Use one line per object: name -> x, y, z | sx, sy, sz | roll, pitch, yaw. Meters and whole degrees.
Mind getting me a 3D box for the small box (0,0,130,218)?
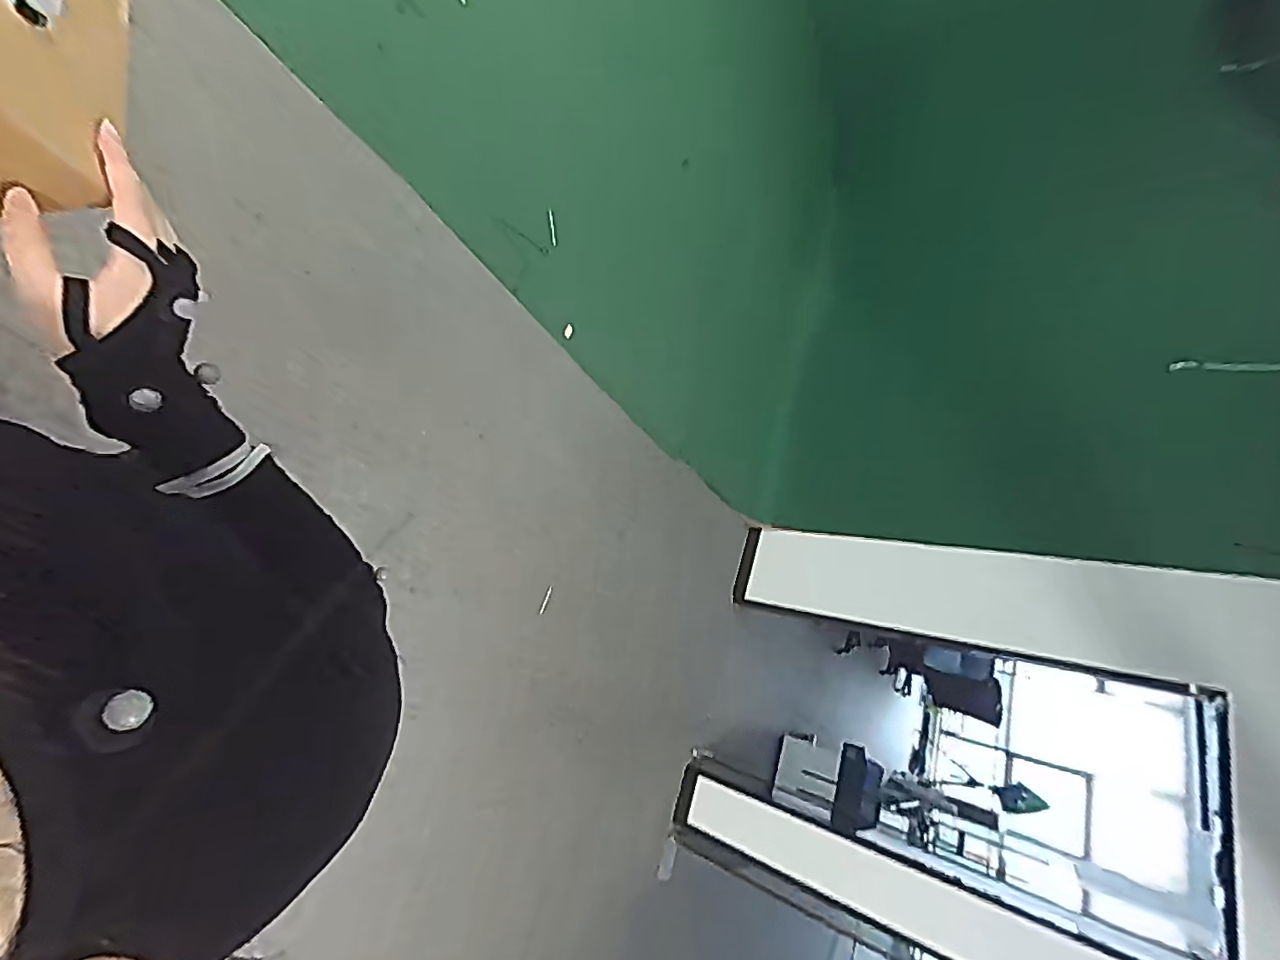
small box -> -0.402, -0.250, 0.257 | 0.168, 0.179, 0.176 | 89, -8, -77
